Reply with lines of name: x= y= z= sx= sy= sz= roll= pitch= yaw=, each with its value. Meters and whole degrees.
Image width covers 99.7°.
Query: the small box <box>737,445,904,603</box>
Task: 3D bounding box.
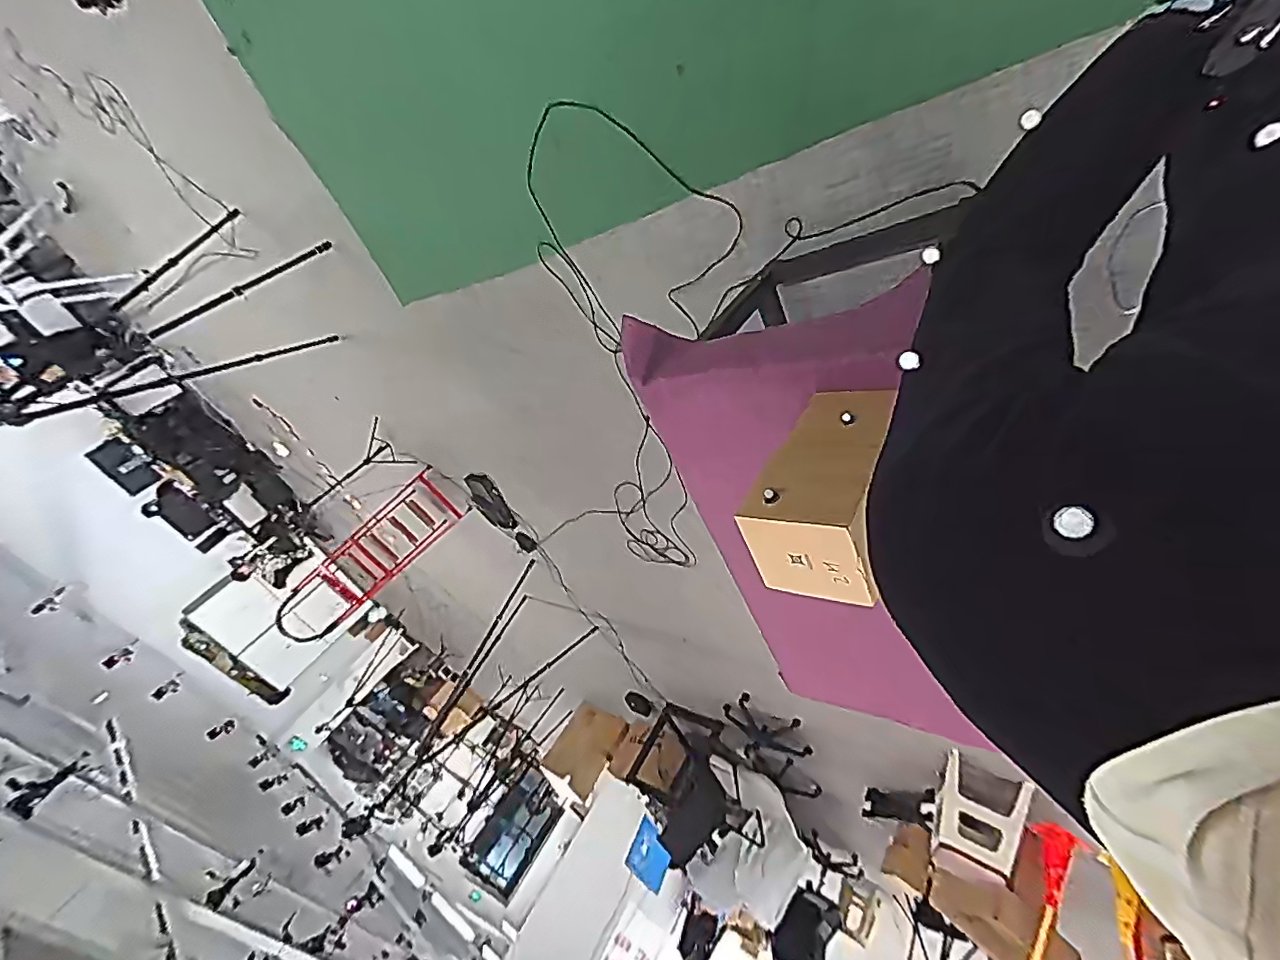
small box: x=0.282 y=0.058 z=0.832 sx=0.179 sy=0.176 sz=0.168 roll=3 pitch=134 yaw=42
